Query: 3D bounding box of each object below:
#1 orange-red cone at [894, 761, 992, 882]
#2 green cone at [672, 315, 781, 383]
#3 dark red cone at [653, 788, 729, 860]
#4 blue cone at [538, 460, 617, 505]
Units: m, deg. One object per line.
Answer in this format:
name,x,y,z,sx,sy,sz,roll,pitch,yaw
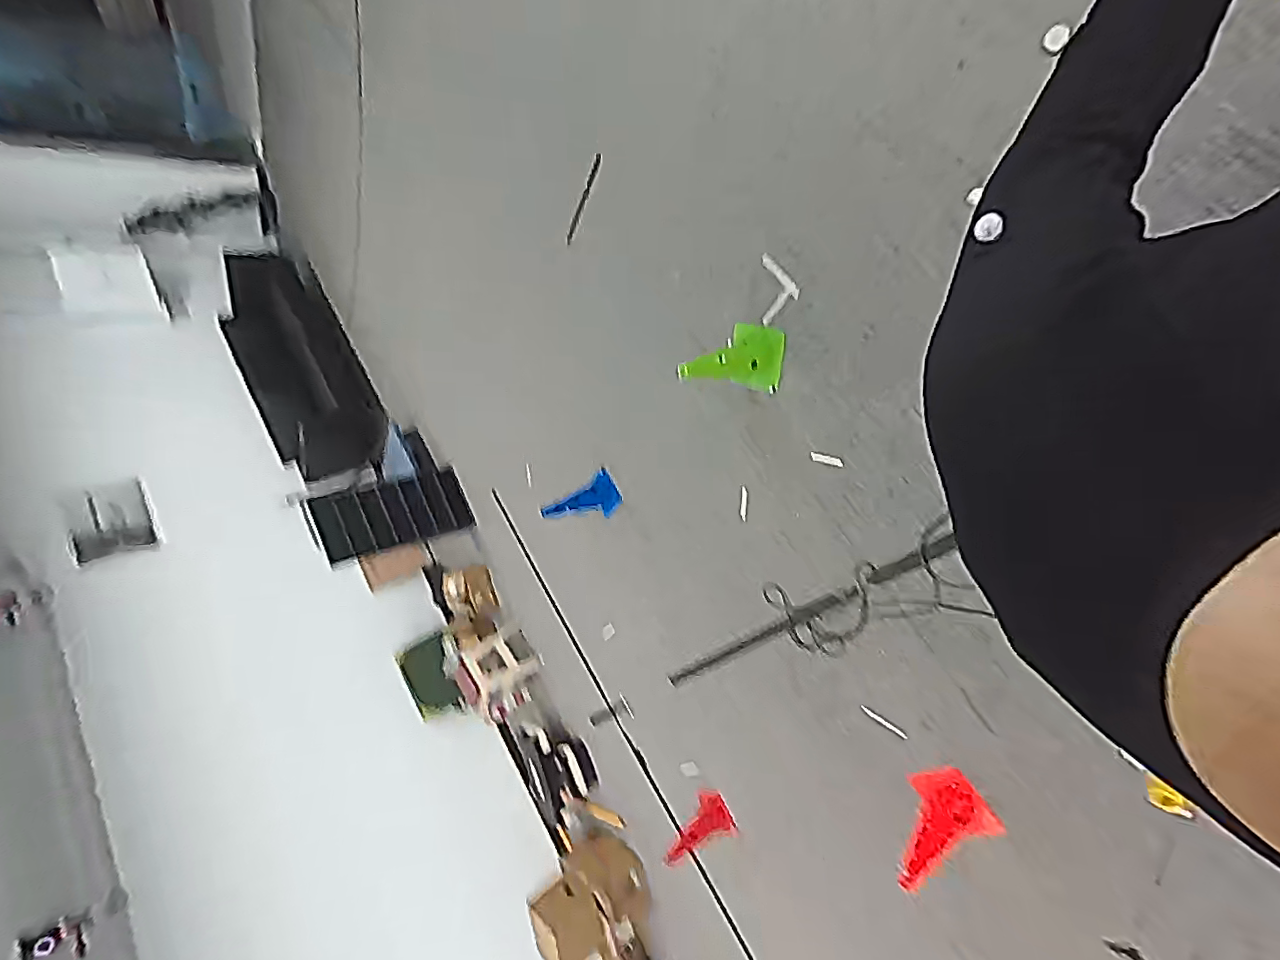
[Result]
orange-red cone,0.834,1.026,1.580,0.198,0.360,0.199,55,138,17
green cone,0.244,-0.390,1.678,0.202,0.368,0.200,27,124,43
dark red cone,0.216,1.644,2.543,0.202,0.394,0.201,-42,72,49
blue cone,-0.309,0.058,2.558,0.192,0.380,0.193,61,141,14
